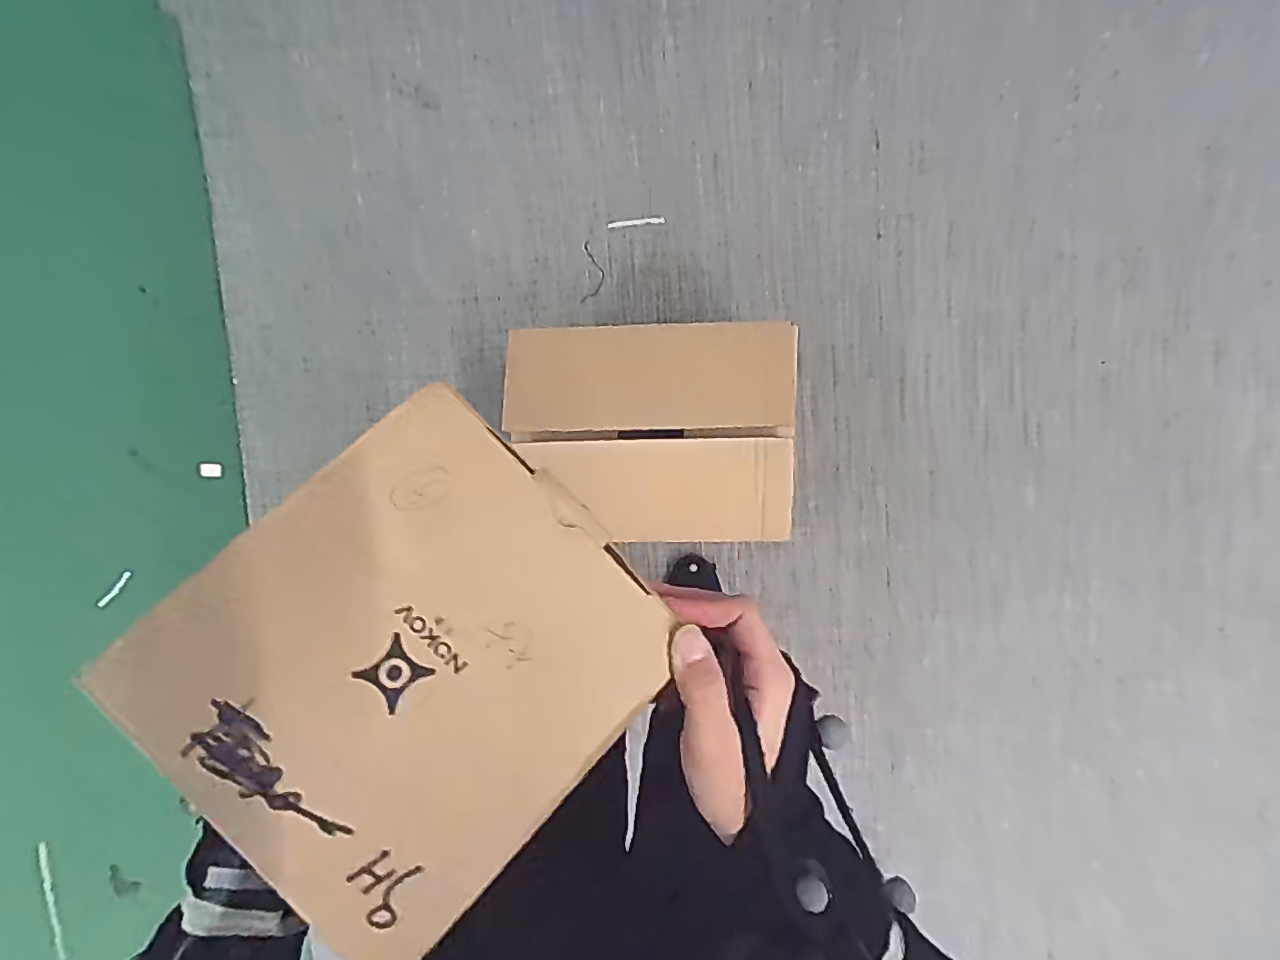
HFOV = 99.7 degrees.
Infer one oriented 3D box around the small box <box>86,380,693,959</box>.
[{"bbox_3d":[-0.104,0.082,0.296,0.168,0.176,0.179,46,76,1],"label":"small box"}]
